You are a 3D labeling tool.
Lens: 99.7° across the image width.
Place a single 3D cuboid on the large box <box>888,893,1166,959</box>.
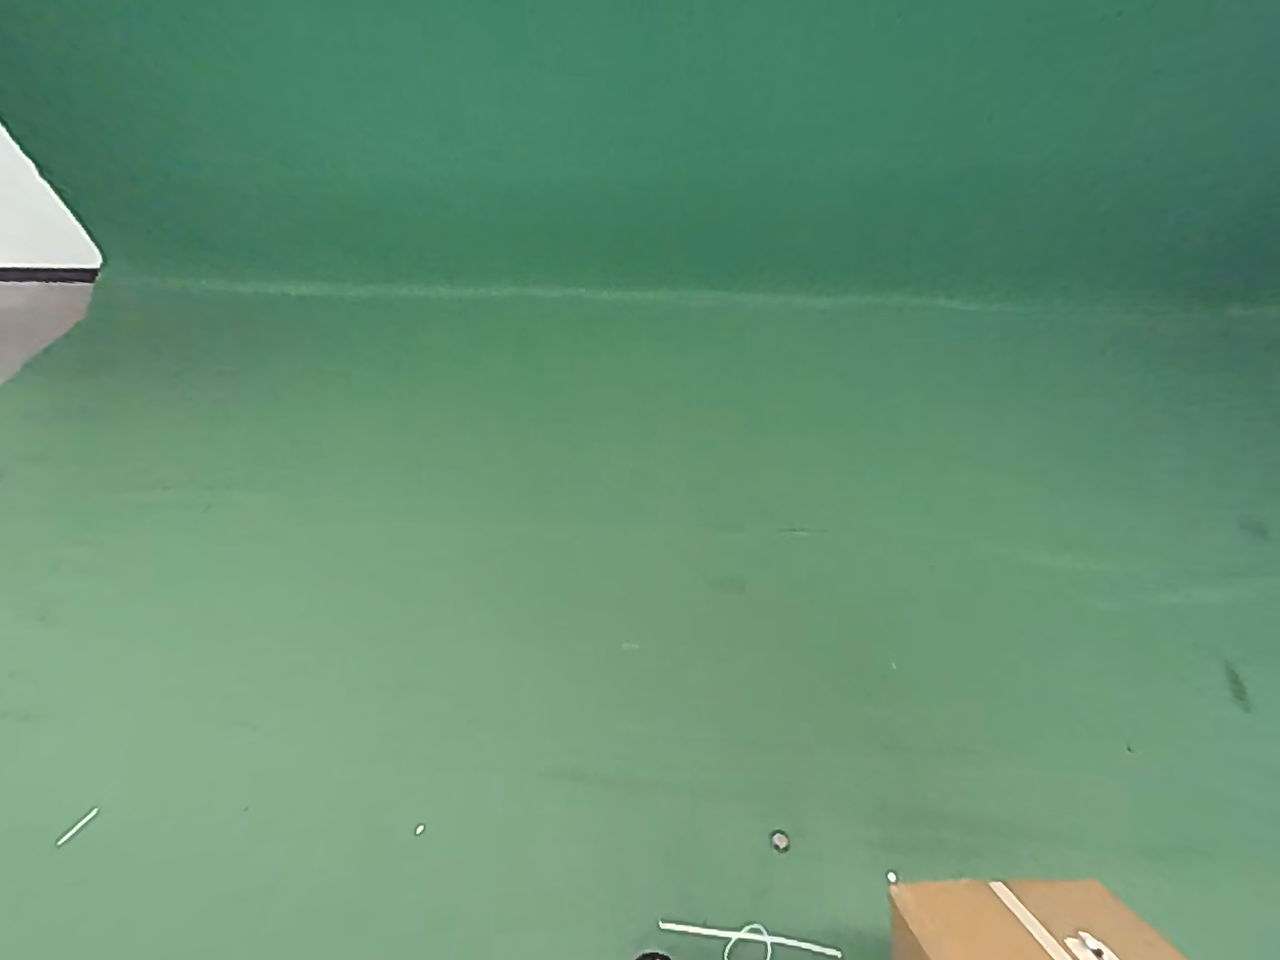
[{"bbox_3d":[0.528,0.765,0.606,0.320,0.408,0.320,-2,86,2],"label":"large box"}]
